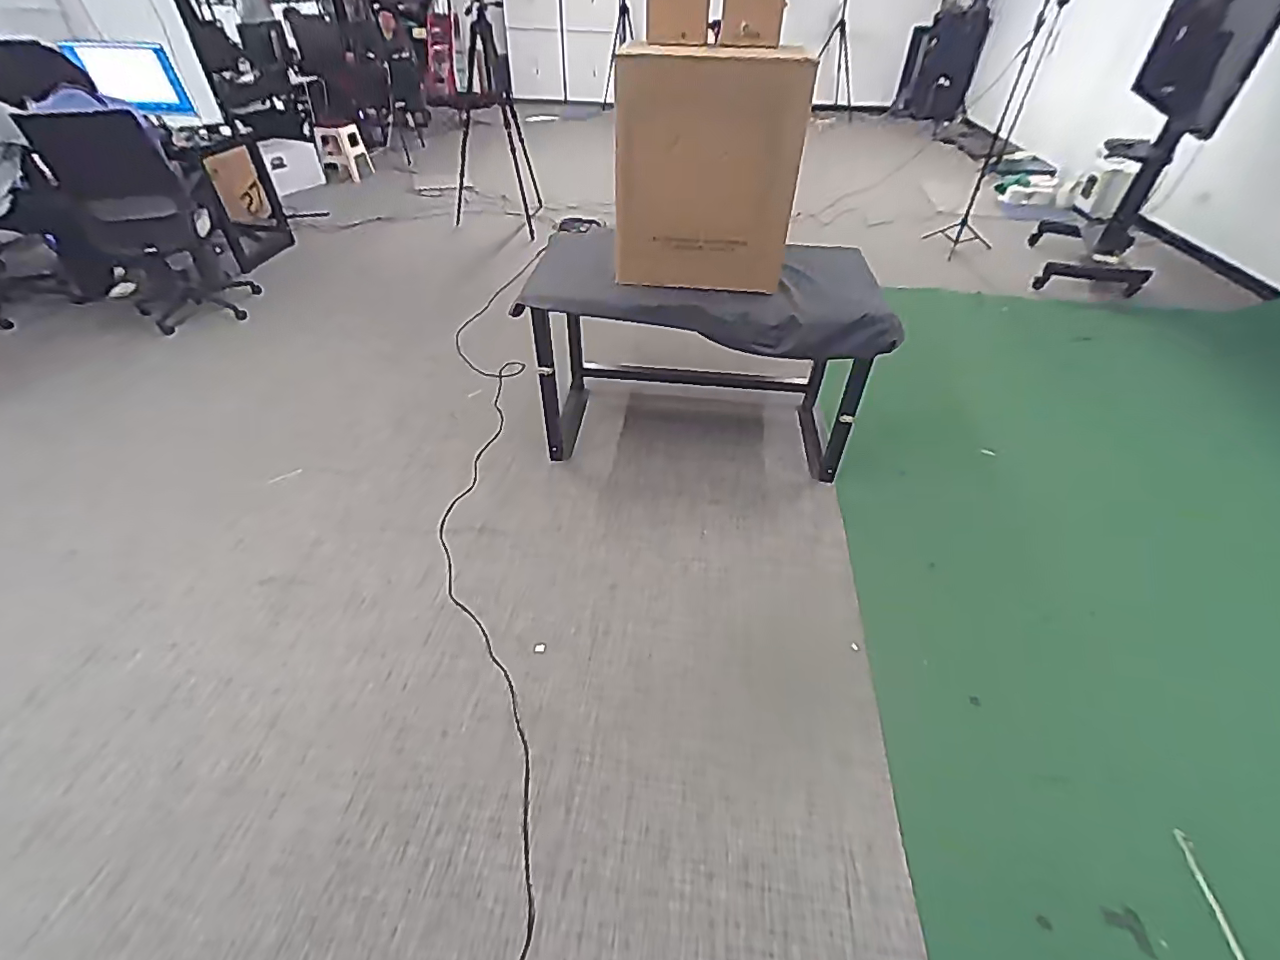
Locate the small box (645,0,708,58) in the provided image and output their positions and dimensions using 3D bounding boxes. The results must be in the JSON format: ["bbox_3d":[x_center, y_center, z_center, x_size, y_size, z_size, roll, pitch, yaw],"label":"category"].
[{"bbox_3d":[0.103,-1.301,1.521,0.168,0.176,0.179,4,40,6],"label":"small box"}]
